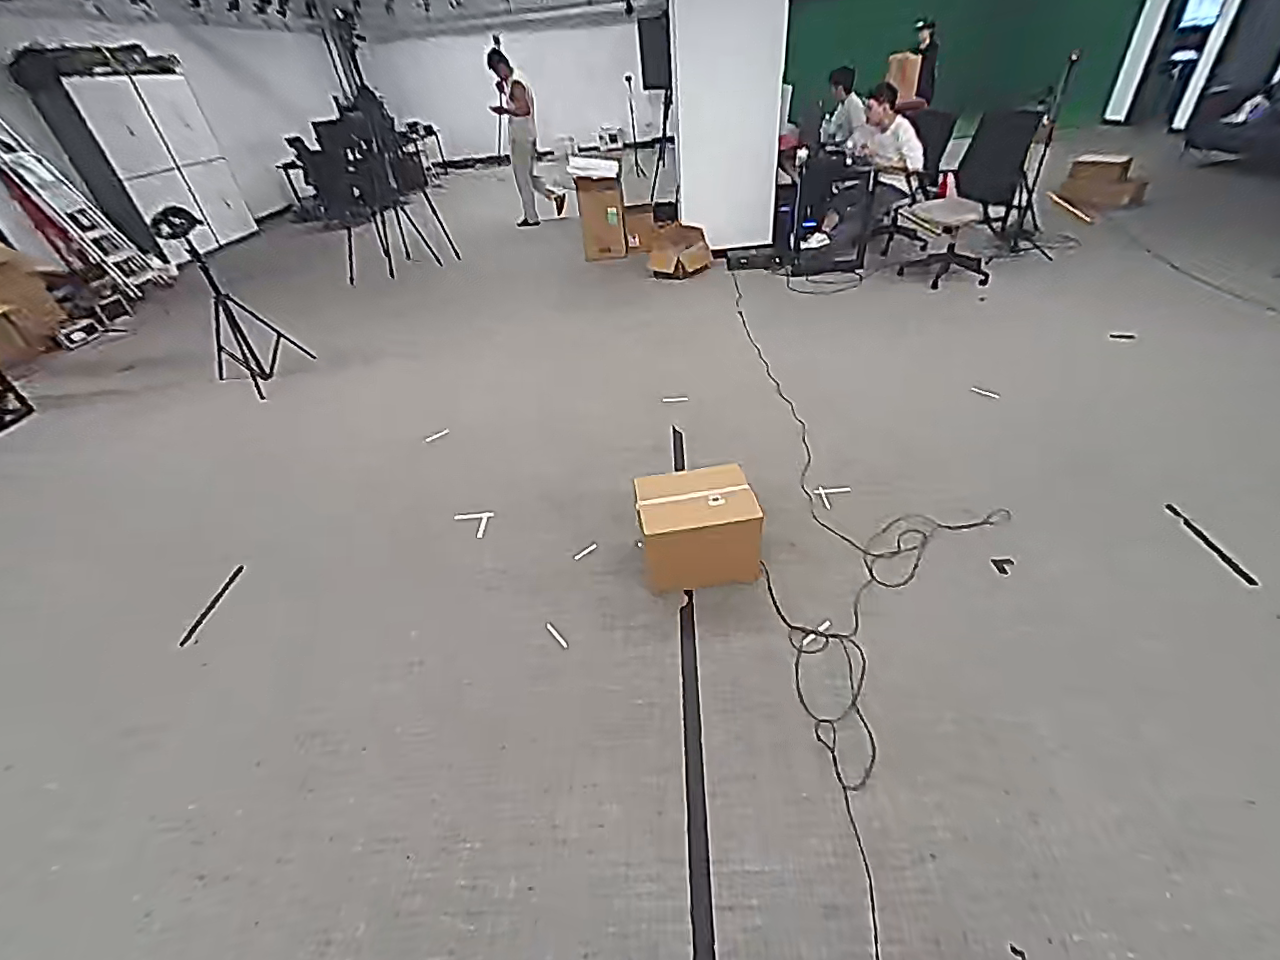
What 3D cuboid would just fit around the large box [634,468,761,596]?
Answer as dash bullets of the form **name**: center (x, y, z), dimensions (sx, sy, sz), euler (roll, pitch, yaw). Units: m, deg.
- **large box**: center (0.203, 0.189, 1.996), dimensions (0.408, 0.320, 0.320), euler (-8, 37, -3)
